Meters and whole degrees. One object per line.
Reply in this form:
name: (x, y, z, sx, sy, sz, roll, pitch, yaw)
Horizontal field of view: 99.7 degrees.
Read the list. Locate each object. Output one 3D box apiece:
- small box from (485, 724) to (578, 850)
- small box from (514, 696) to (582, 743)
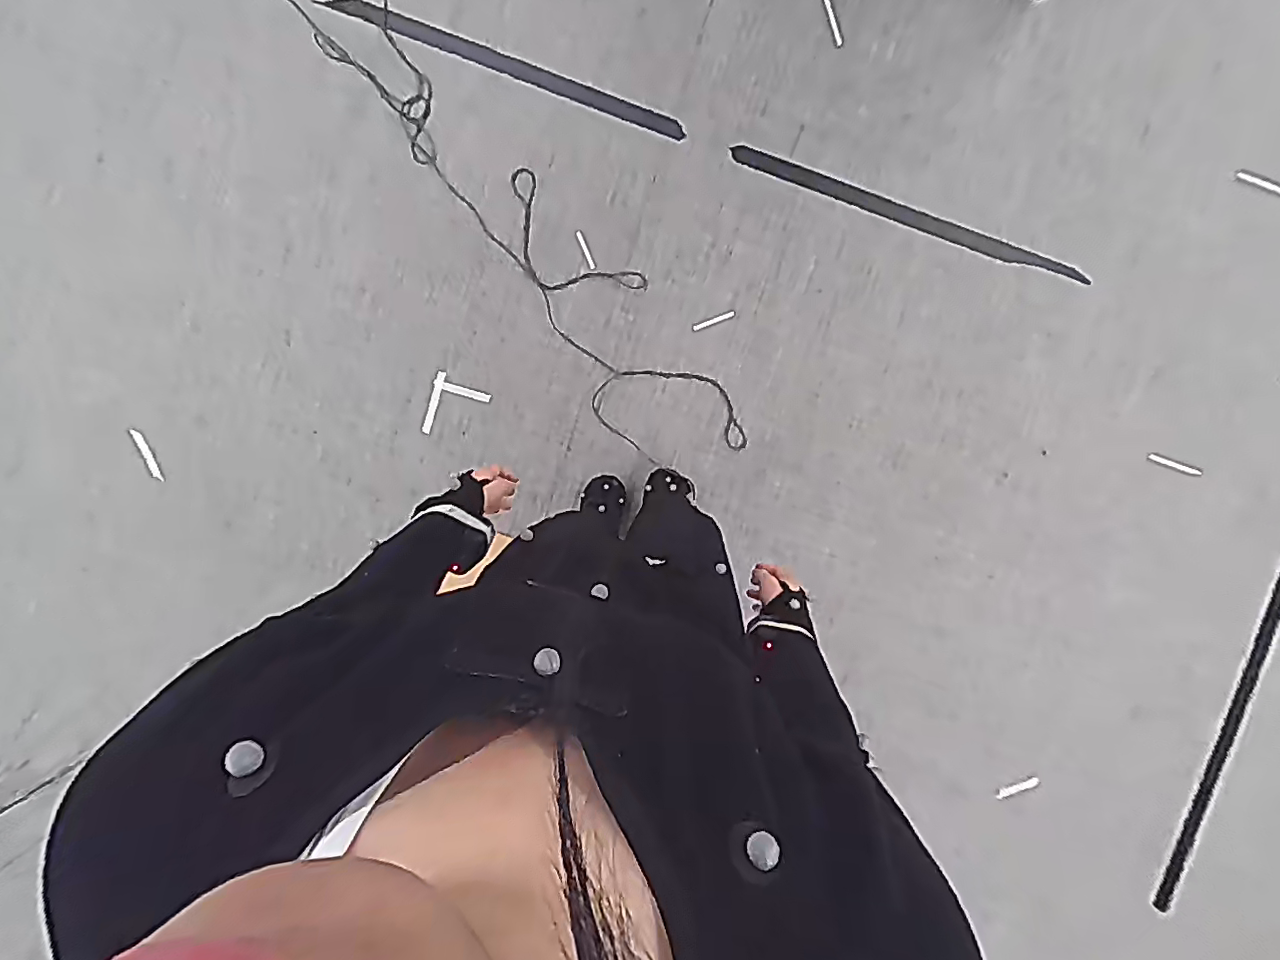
small box: (-0.244, 0.706, 1.257, 0.168, 0.176, 0.179, 14, 92, -3)
small box: (-0.251, 0.696, 1.422, 0.168, 0.176, 0.179, 12, 92, -2)
